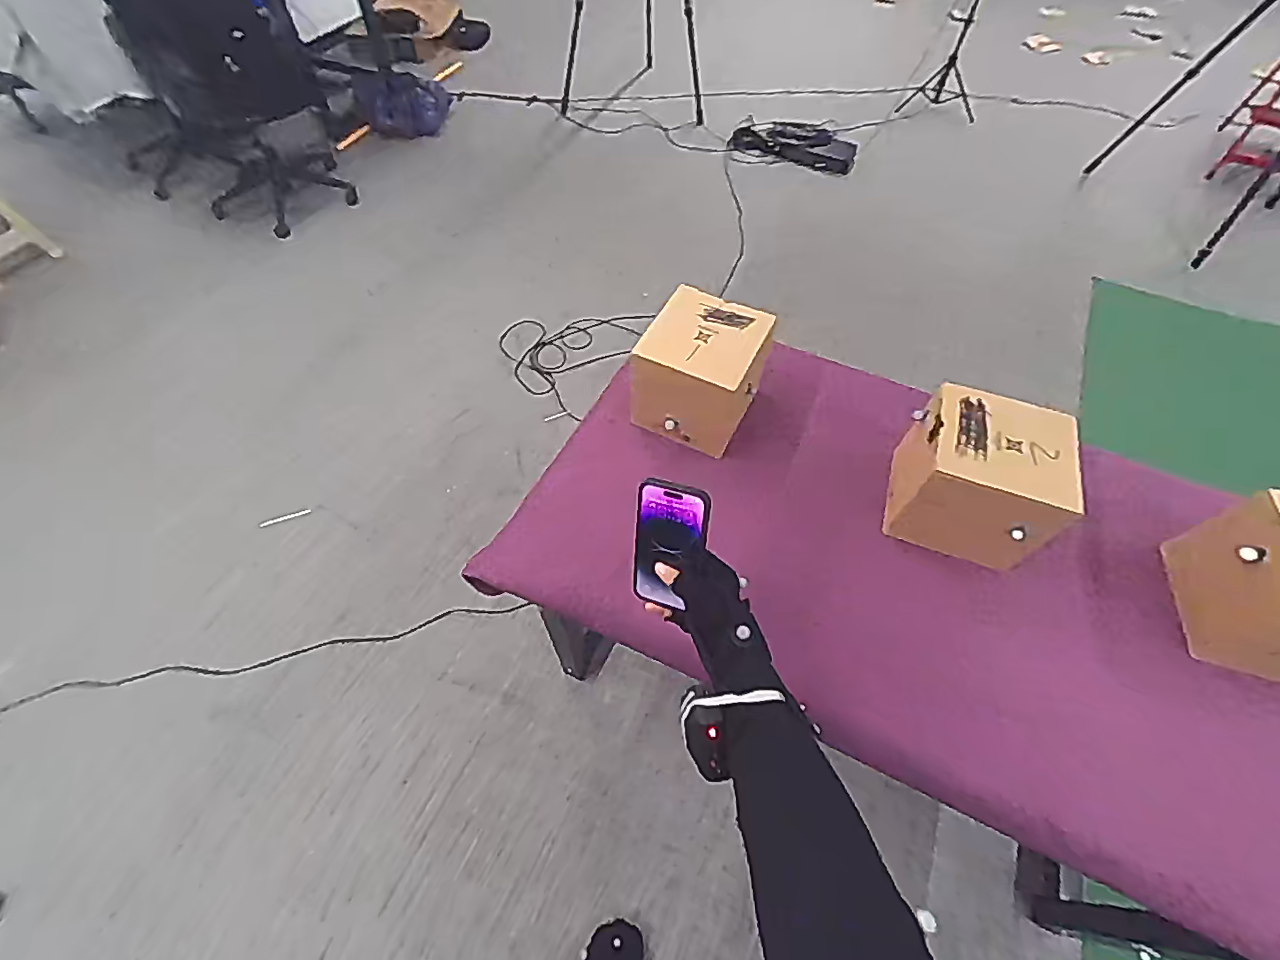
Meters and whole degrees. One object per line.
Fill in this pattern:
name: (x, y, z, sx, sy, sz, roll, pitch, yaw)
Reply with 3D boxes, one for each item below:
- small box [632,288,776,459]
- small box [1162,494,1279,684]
small box: (0.095, -0.168, 0.869, 0.168, 0.176, 0.179, 24, 61, 14)
small box: (0.820, 0.149, 0.675, 0.168, 0.176, 0.179, 14, 56, 9)
